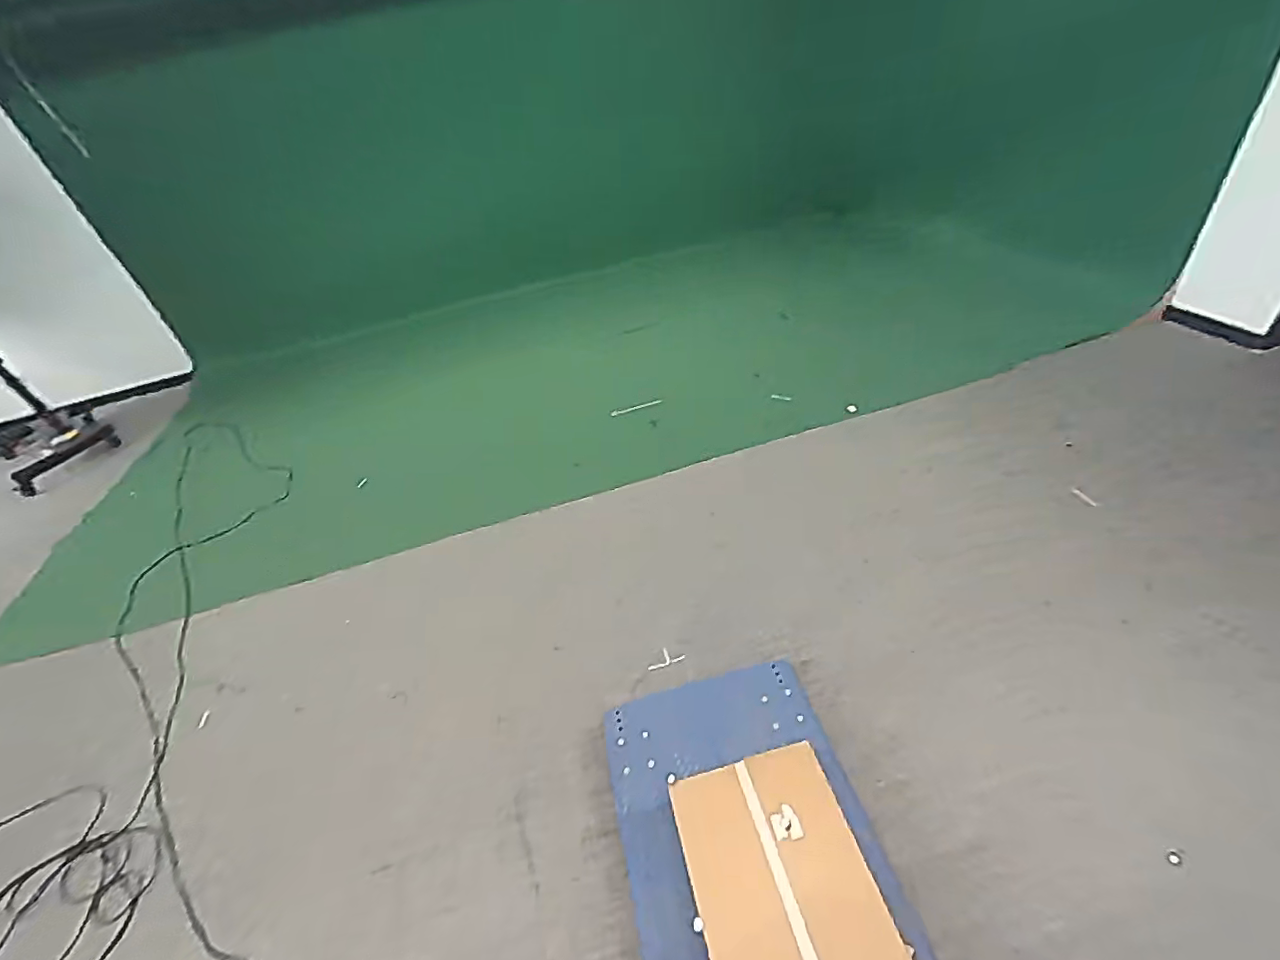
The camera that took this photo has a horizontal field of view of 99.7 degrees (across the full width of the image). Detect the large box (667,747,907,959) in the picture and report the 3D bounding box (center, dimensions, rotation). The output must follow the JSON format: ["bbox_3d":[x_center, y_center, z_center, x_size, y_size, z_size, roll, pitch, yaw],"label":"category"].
[{"bbox_3d":[0.273,0.837,1.077,0.320,0.320,0.408,-15,38,-4],"label":"large box"}]
